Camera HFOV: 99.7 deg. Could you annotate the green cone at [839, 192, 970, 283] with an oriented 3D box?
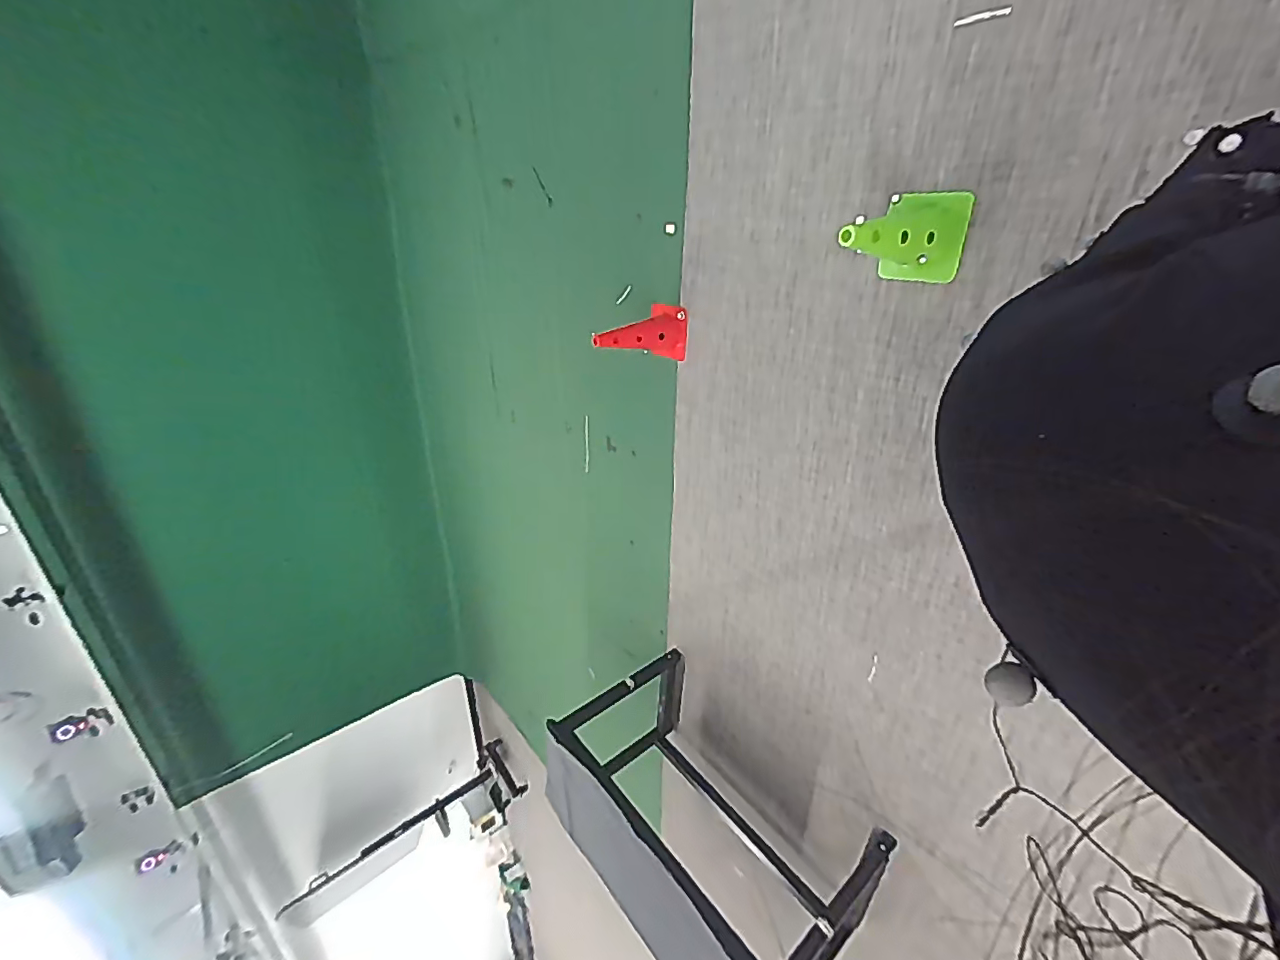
[{"bbox_3d":[0.568,-0.555,1.246,0.202,0.368,0.200,25,125,44],"label":"green cone"}]
